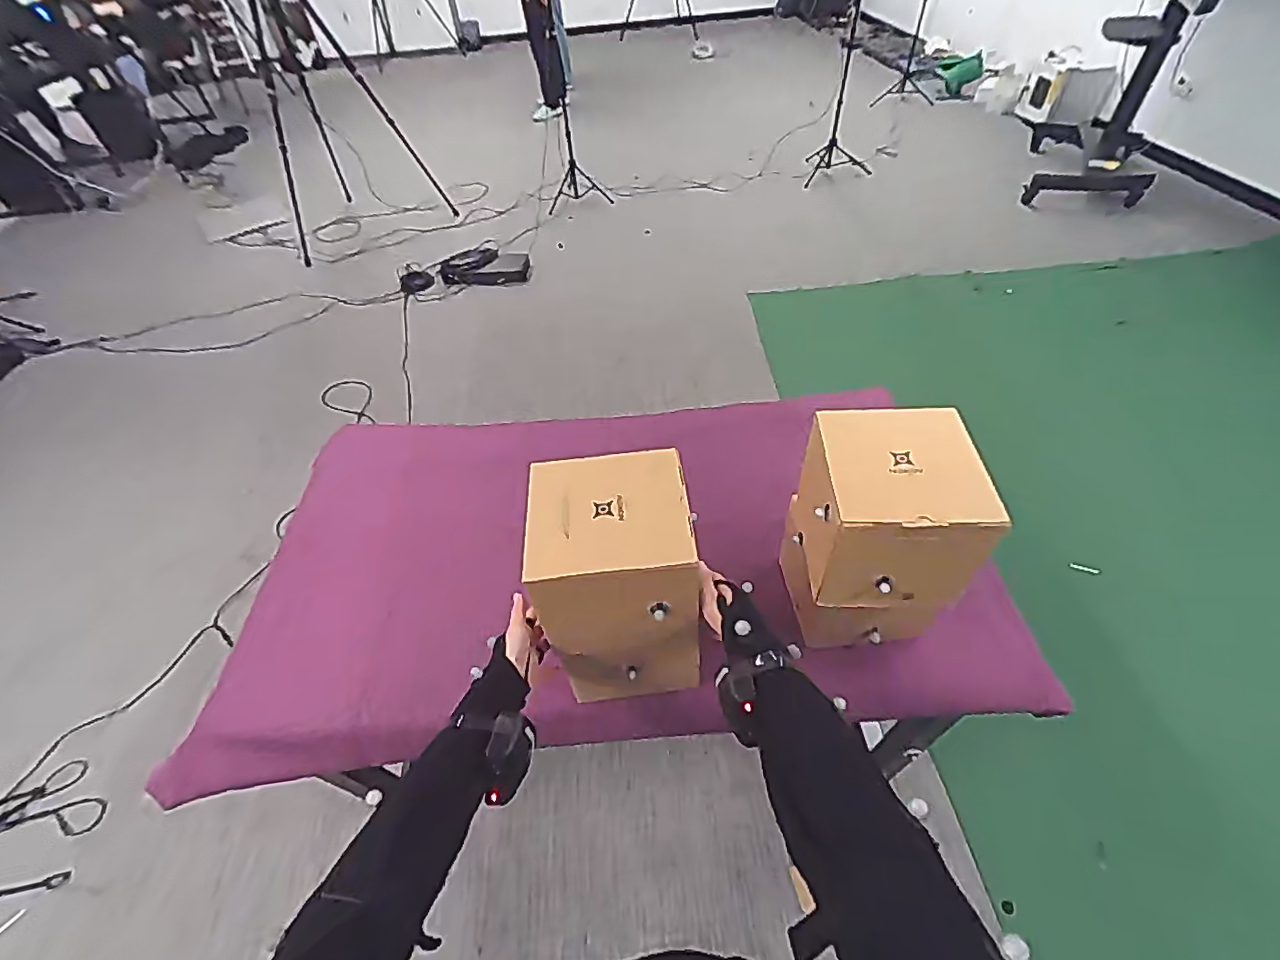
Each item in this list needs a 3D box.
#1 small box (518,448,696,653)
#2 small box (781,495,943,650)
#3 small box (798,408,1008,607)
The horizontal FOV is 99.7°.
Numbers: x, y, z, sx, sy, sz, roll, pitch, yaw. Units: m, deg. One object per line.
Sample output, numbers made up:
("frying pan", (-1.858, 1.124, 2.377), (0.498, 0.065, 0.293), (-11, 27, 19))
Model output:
("small box", (-0.031, 0.085, 0.634), (0.179, 0.176, 0.168), (-6, 45, 1))
("small box", (0.317, 0.128, 0.784), (0.179, 0.176, 0.168), (-7, 46, 1))
("small box", (0.292, 0.032, 0.652), (0.168, 0.176, 0.179), (-1, 48, 6))
